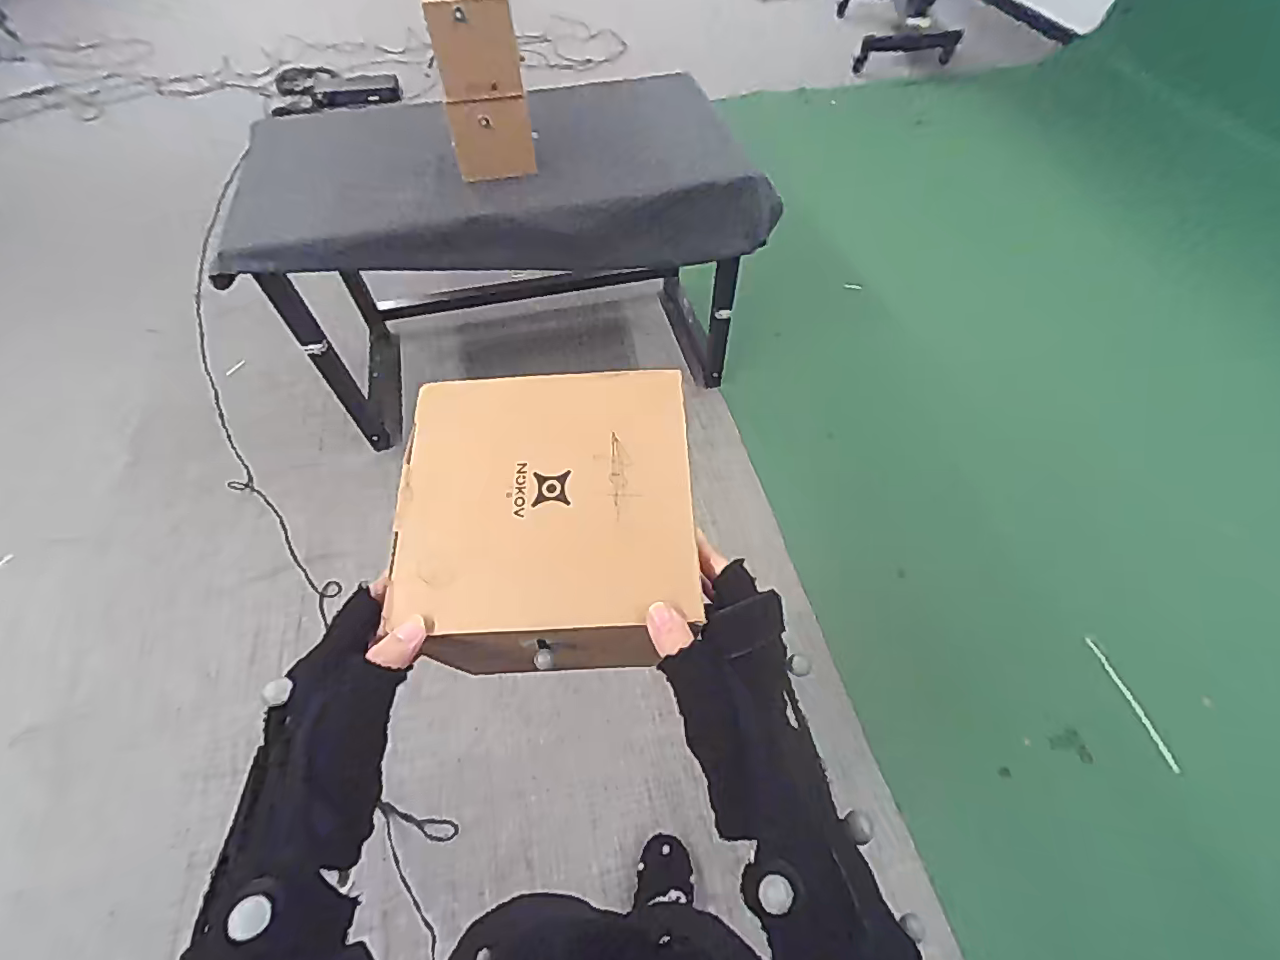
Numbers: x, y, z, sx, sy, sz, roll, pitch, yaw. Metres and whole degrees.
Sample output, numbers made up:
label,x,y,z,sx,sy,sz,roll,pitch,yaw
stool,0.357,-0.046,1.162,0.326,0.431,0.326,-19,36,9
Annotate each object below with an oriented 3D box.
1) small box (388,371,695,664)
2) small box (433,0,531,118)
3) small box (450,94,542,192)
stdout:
label,x,y,z,sx,sy,sz,roll,pitch,yaw
small box,-0.056,0.039,0.405,0.179,0.176,0.168,-3,64,0
small box,-0.334,-0.903,1.153,0.168,0.176,0.179,-12,57,-9
small box,-0.338,-0.807,1.282,0.179,0.176,0.168,-11,56,-7
